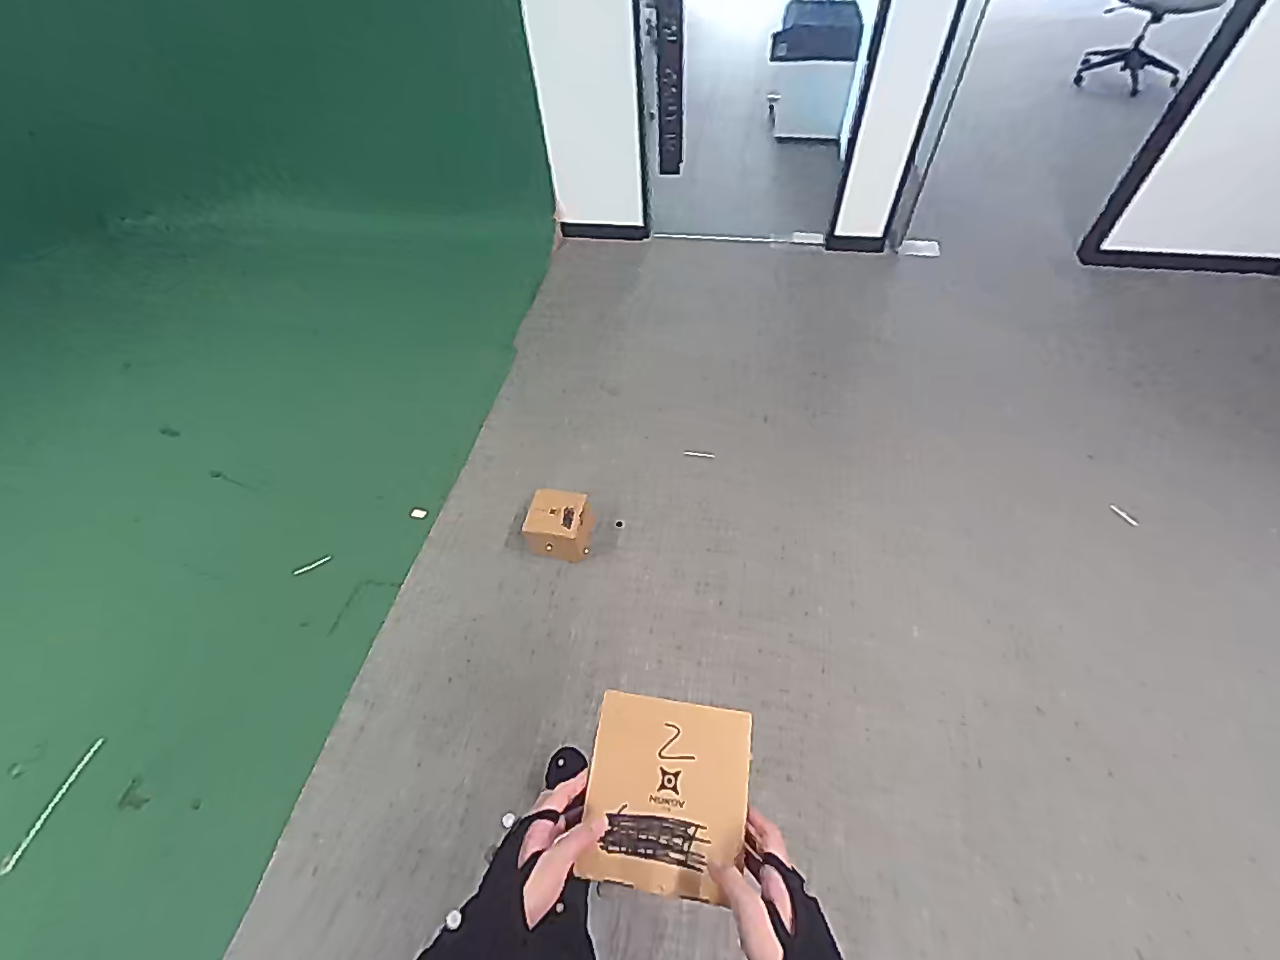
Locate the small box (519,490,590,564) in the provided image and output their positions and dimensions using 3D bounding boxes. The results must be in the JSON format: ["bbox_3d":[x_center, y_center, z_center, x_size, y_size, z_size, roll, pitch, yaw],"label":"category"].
[{"bbox_3d":[-0.268,0.156,1.756,0.179,0.176,0.168,7,53,10],"label":"small box"}]
